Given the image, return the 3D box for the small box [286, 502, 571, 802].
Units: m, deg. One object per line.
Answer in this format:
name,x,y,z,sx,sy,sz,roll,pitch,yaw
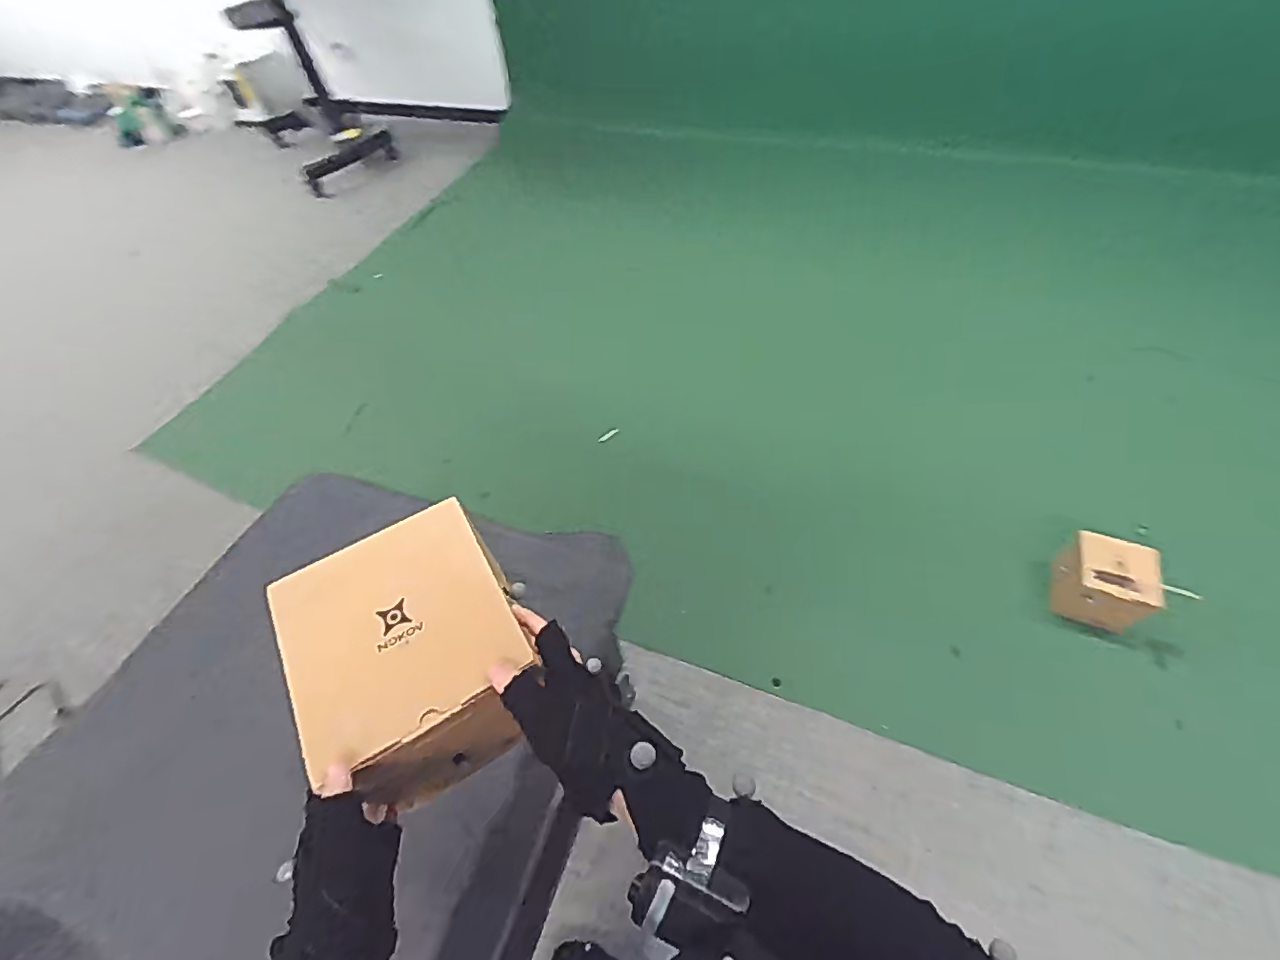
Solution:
small box,-0.177,0.158,0.488,0.168,0.176,0.179,-27,59,-16
